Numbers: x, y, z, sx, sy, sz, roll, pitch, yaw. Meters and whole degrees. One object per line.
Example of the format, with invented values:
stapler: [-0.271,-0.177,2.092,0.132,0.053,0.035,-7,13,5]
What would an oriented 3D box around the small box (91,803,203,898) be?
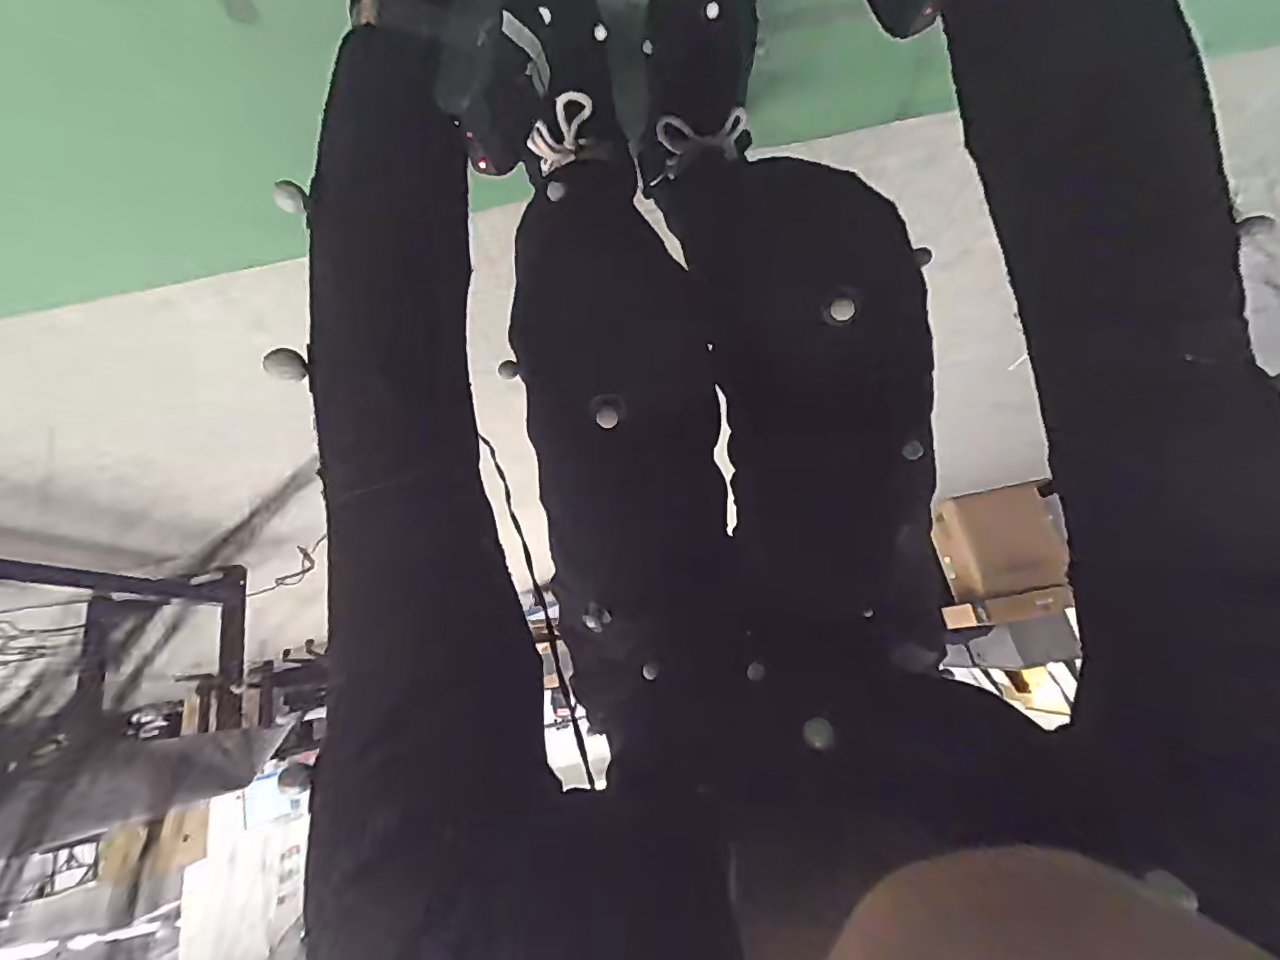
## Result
small box: [-1.405,1.053,1.552,0.168,0.176,0.179,-12,161,2]
